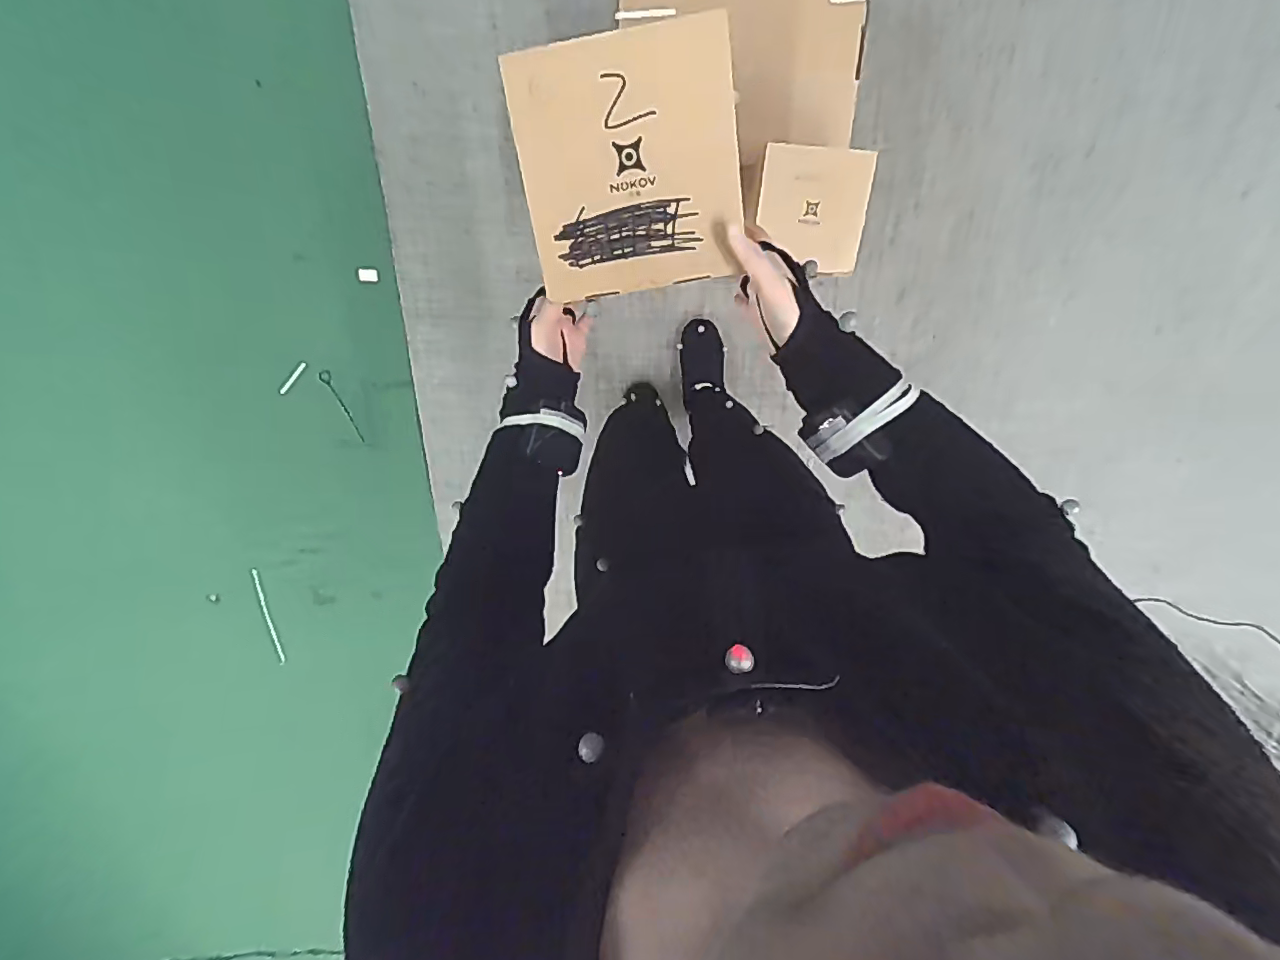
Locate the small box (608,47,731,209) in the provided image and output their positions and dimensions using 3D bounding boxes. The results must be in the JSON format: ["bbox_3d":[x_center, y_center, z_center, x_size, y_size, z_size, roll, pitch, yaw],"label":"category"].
[{"bbox_3d":[0.046,-0.549,0.865,0.168,0.176,0.179,7,110,4],"label":"small box"}]

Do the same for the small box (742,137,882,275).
[{"bbox_3d":[0.267,-0.437,0.887,0.168,0.176,0.179,6,111,1],"label":"small box"}]
